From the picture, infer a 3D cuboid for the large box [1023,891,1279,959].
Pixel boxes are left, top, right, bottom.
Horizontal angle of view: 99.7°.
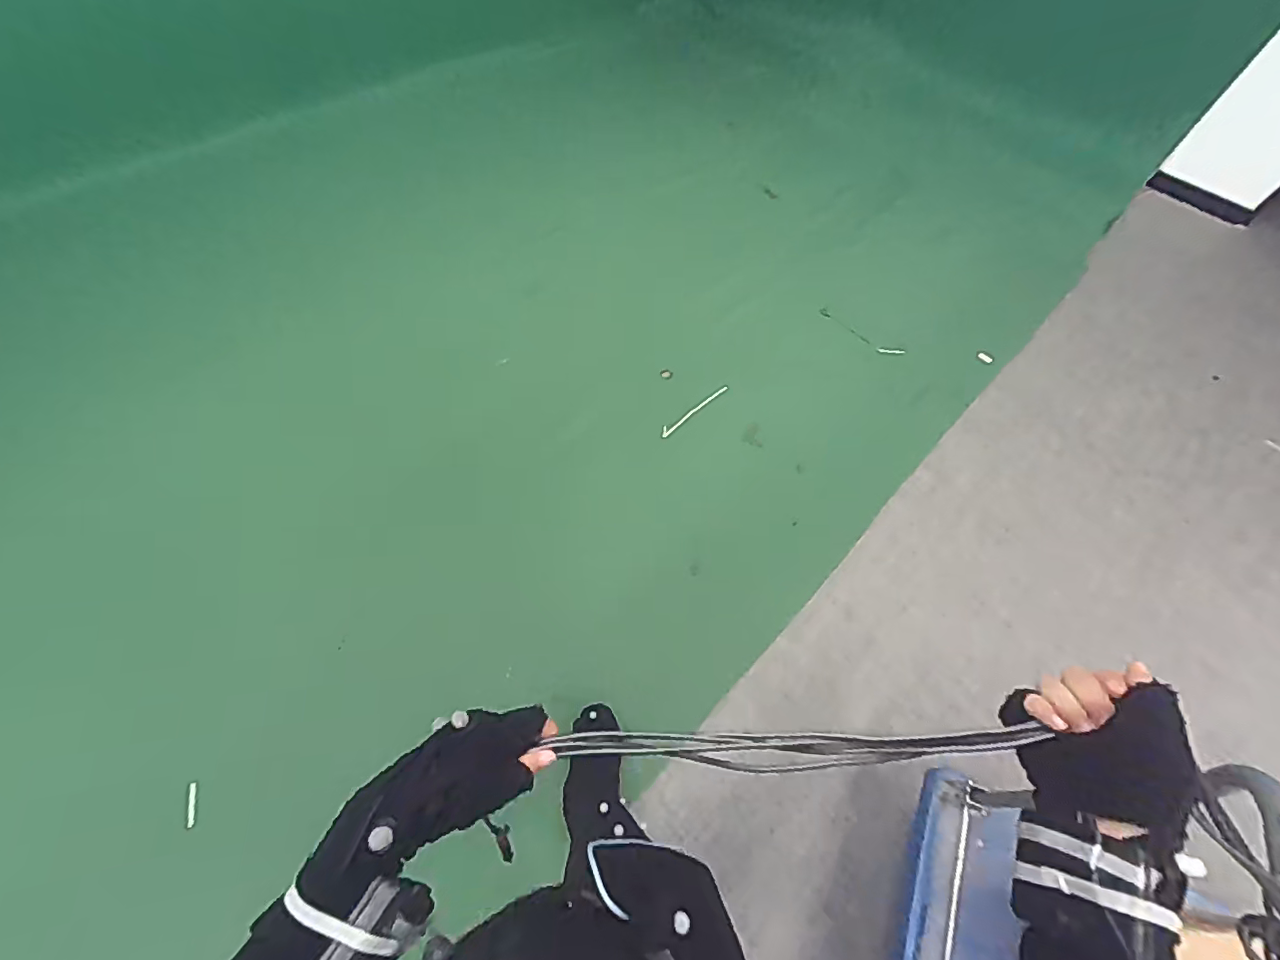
[{"bbox_3d":[0.887,0.908,0.828,0.320,0.320,0.408,6,58,-1],"label":"large box"}]
